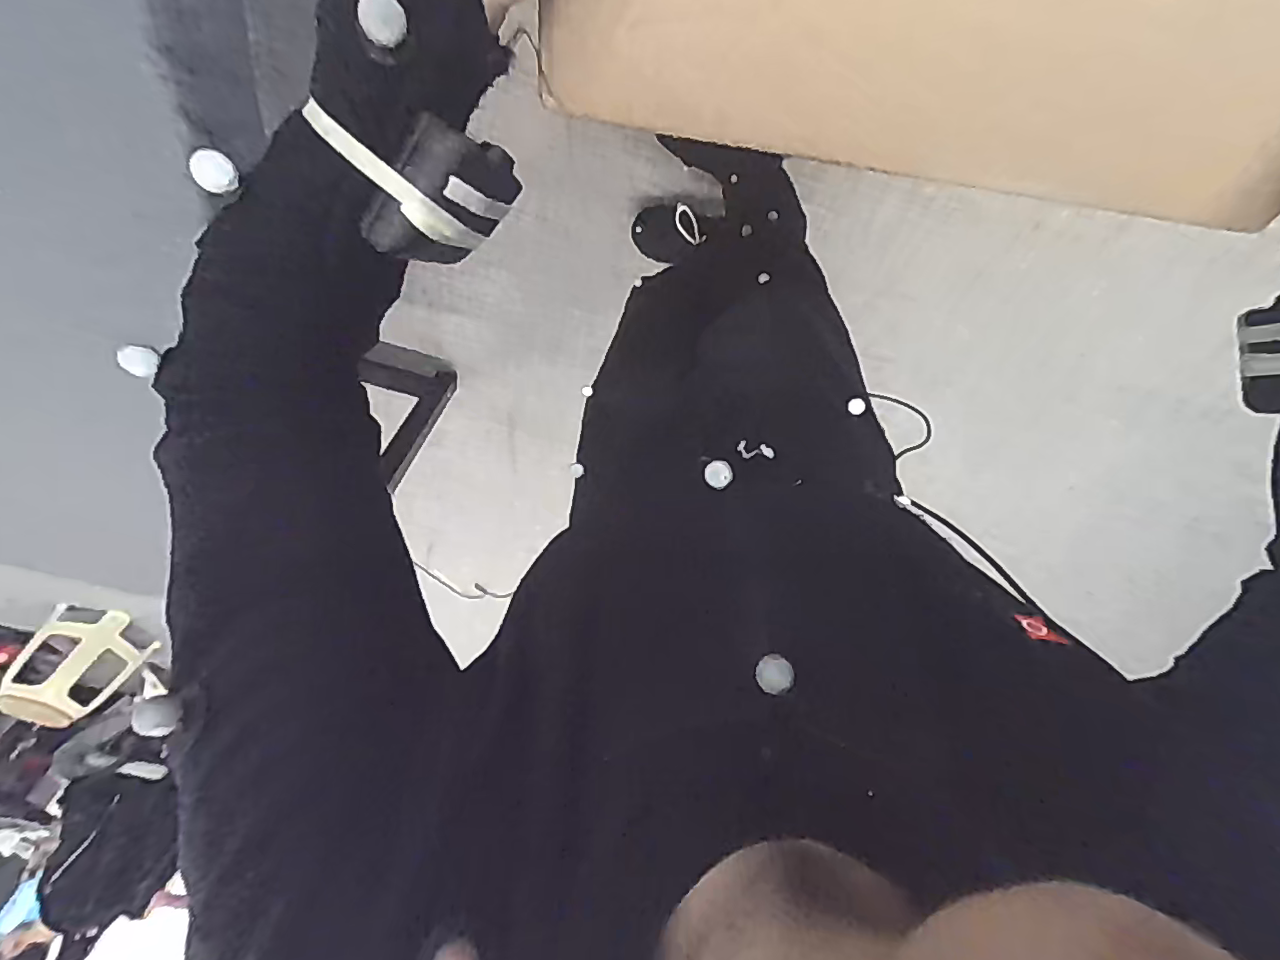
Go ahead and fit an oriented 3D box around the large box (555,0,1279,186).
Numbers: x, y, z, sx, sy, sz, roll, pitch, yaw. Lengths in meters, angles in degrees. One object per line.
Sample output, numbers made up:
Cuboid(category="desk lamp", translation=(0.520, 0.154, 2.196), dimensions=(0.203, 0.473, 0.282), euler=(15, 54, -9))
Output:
Cuboid(category="large box", translation=(0.167, -0.393, 0.294), dimensions=(0.408, 0.320, 0.320), euler=(5, 134, -6))
